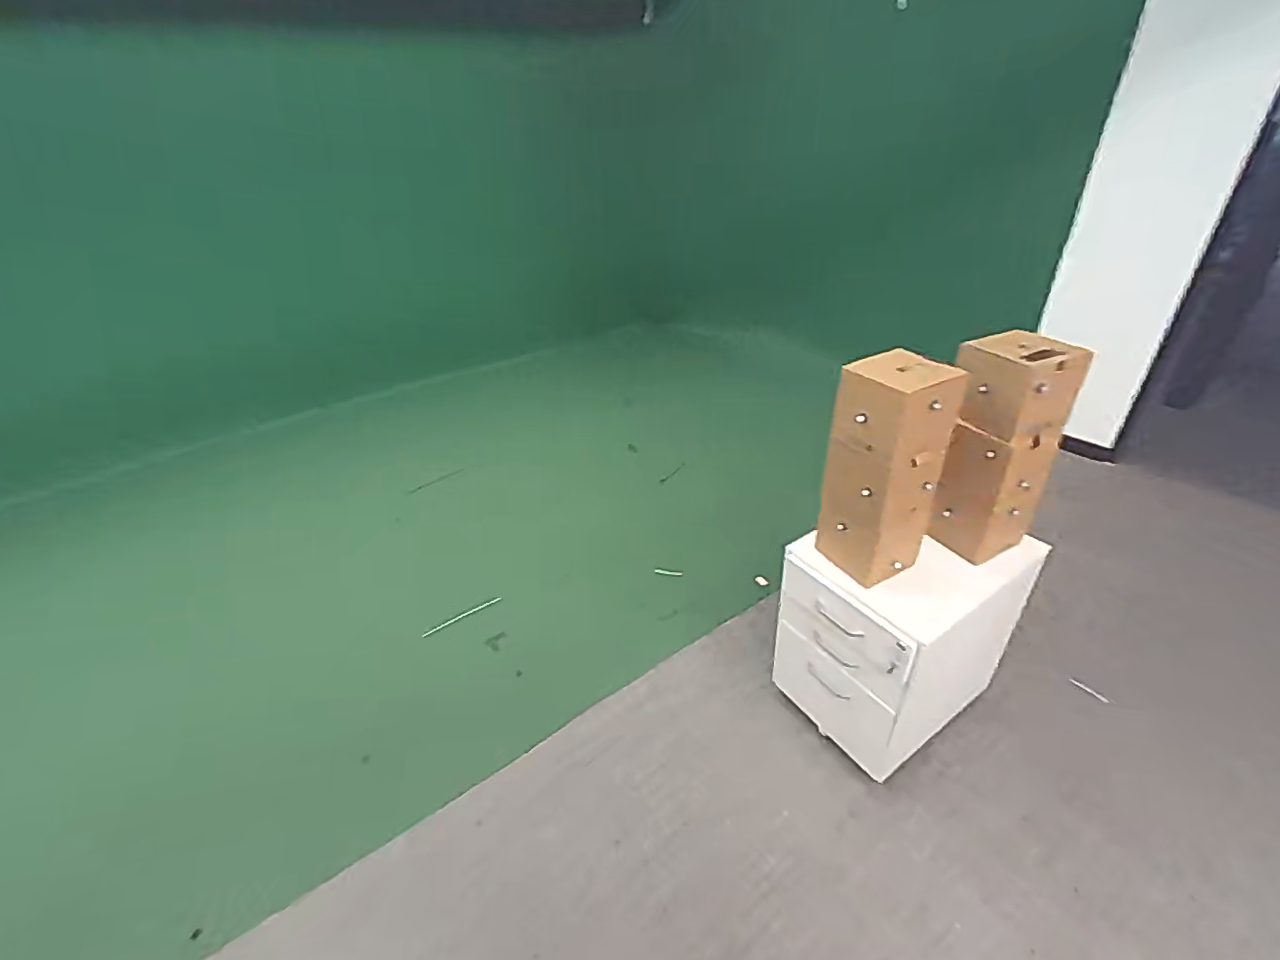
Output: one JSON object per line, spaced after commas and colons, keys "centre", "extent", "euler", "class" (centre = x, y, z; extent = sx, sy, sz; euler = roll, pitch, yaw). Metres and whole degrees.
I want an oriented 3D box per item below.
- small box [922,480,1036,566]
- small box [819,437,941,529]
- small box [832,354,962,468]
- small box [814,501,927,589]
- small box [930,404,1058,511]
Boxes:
{"centre": [0.822, 0.082, 1.342], "extent": [0.168, 0.176, 0.179], "euler": [-18, 35, -19], "class": "small box"}
{"centre": [0.530, -0.006, 1.217], "extent": [0.168, 0.176, 0.179], "euler": [-18, 35, -22], "class": "small box"}
{"centre": [0.524, -0.146, 1.129], "extent": [0.179, 0.176, 0.168], "euler": [-18, 37, -23], "class": "small box"}
{"centre": [0.545, 0.129, 1.305], "extent": [0.168, 0.176, 0.179], "euler": [-18, 37, -21], "class": "small box"}
{"centre": [0.804, -0.054, 1.256], "extent": [0.168, 0.176, 0.179], "euler": [-19, 36, -20], "class": "small box"}
